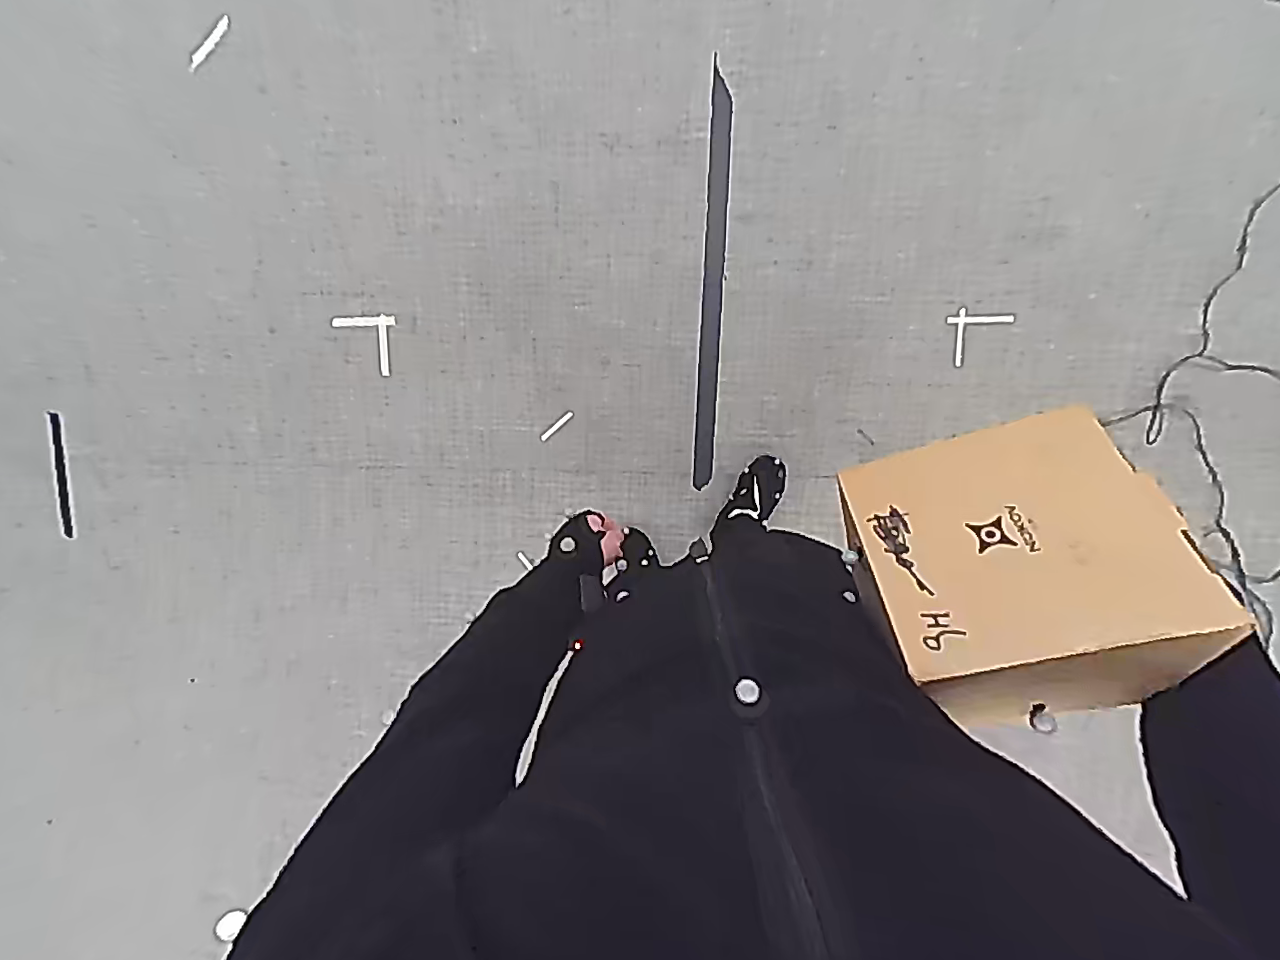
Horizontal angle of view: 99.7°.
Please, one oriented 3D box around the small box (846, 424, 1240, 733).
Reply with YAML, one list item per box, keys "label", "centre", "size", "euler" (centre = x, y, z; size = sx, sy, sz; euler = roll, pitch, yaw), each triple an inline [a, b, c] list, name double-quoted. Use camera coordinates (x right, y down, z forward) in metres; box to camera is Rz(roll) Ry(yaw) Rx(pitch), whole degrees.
- label: "small box"
  centre: [0.277, 0.089, 0.428]
  size: [0.179, 0.176, 0.168]
  euler: [-16, 51, 14]
